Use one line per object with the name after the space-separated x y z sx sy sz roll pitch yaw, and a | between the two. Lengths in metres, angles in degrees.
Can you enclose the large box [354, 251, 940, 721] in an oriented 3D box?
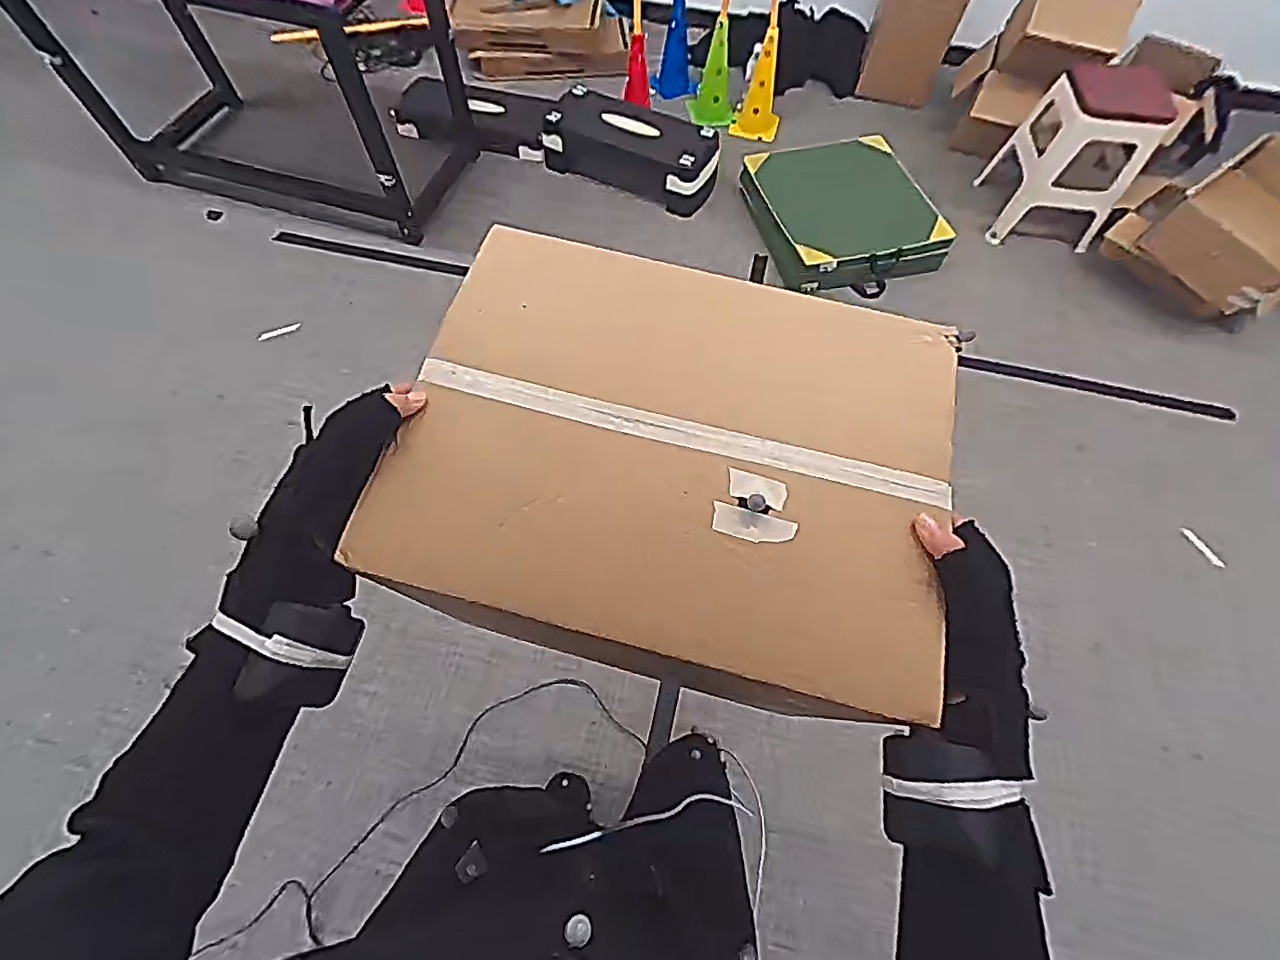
0.021 0.031 0.553 0.408 0.320 0.320 14 69 3 | large box
